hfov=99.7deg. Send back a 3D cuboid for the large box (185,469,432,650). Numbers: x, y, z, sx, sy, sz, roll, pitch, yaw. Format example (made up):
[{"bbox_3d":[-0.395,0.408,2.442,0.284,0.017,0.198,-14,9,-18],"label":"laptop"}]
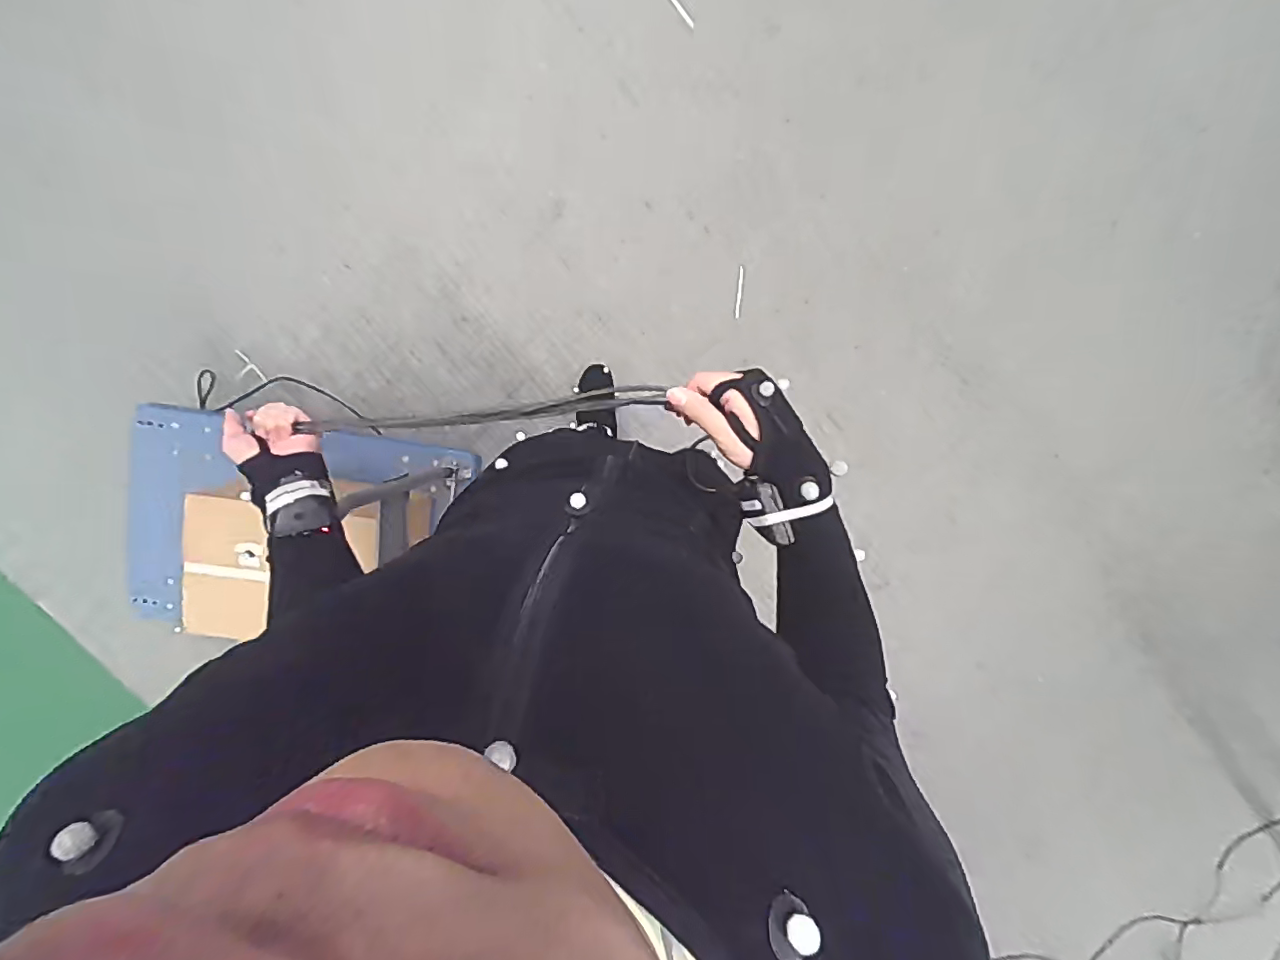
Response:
[{"bbox_3d":[-0.753,0.171,1.286,0.408,0.320,0.320,9,99,-3],"label":"large box"}]
